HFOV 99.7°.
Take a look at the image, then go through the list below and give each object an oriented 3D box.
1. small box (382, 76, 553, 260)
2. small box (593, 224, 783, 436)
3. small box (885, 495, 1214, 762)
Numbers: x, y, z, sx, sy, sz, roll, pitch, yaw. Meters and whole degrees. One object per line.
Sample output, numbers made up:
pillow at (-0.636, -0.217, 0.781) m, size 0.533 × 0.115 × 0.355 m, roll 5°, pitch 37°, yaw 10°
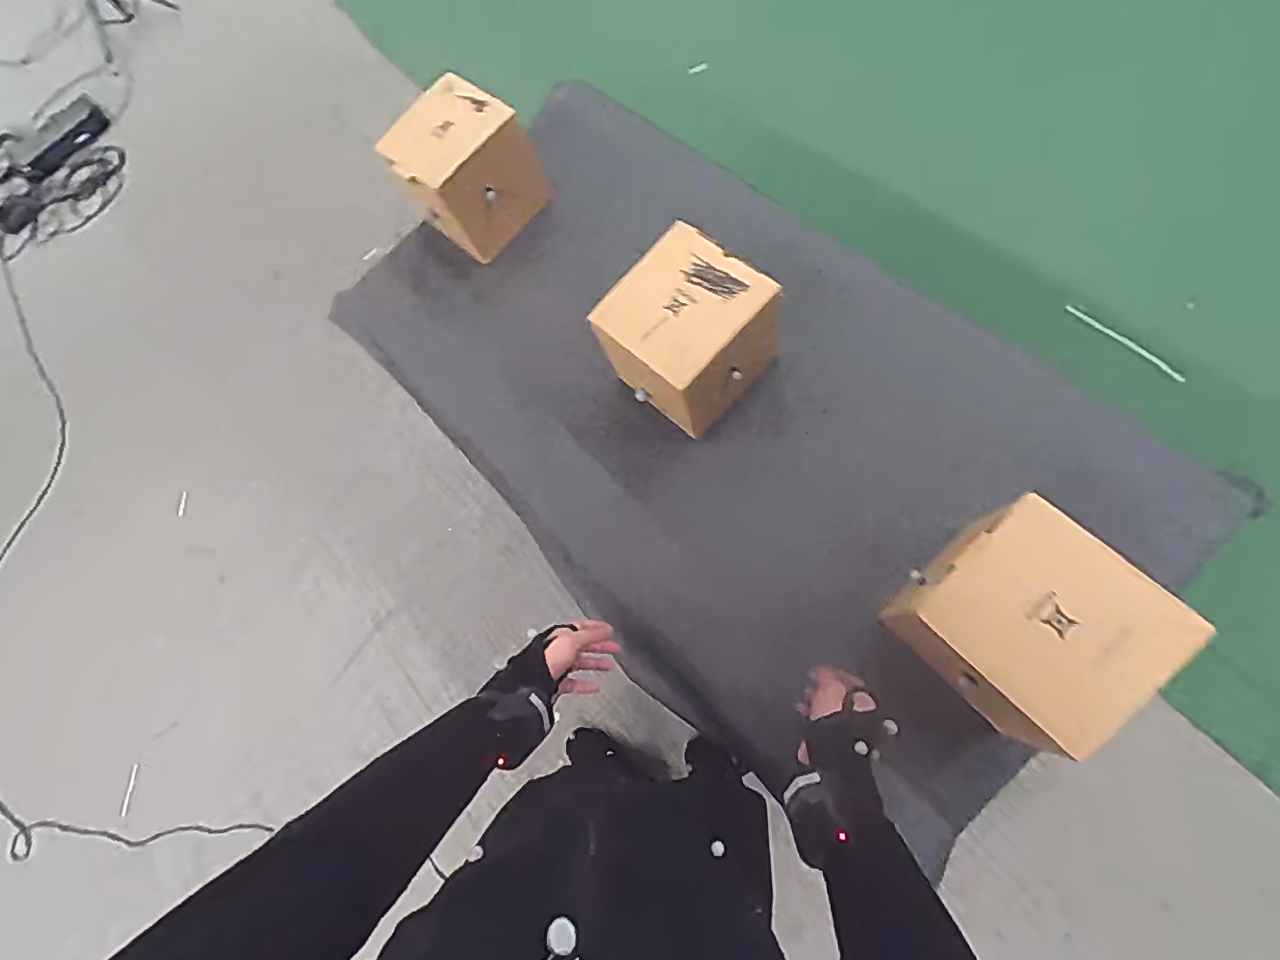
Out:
small box at (-0.276, -0.508, 0.902) m, size 0.168 × 0.176 × 0.179 m, roll 41°, pitch 86°, yaw 20°
small box at (0.069, -0.191, 0.728) m, size 0.179 × 0.176 × 0.168 m, roll -46°, pitch 69°, yaw -2°
small box at (0.386, 0.146, 0.555) m, size 0.168 × 0.176 × 0.179 m, roll -44°, pitch 70°, yaw -1°
